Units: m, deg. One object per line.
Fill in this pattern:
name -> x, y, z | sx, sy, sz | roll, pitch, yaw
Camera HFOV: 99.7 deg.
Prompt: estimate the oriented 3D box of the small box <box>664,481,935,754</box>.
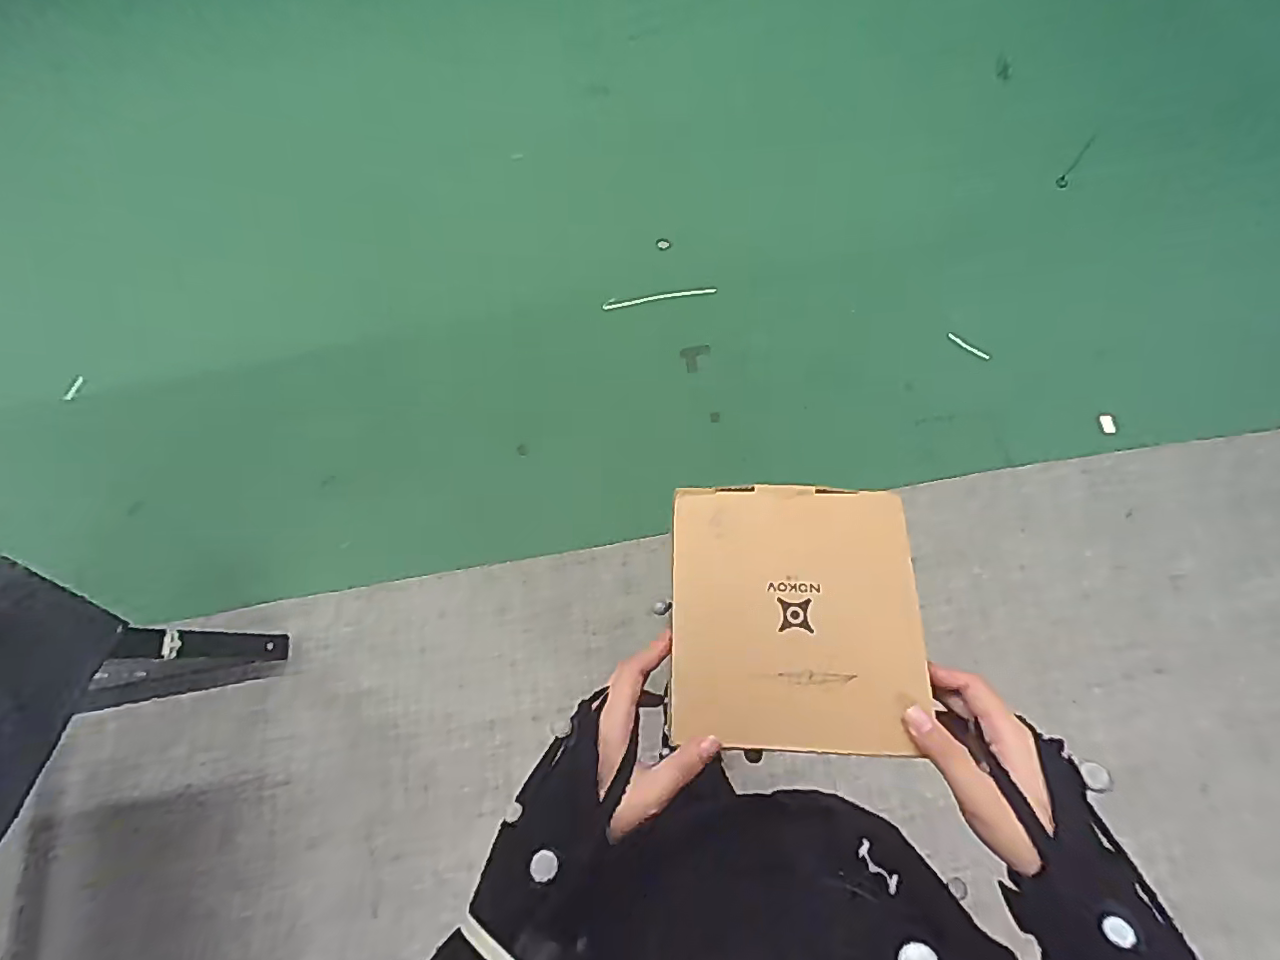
small box -> 0.106, 0.114, 0.439 | 0.168, 0.176, 0.179 | 2, 68, 3
